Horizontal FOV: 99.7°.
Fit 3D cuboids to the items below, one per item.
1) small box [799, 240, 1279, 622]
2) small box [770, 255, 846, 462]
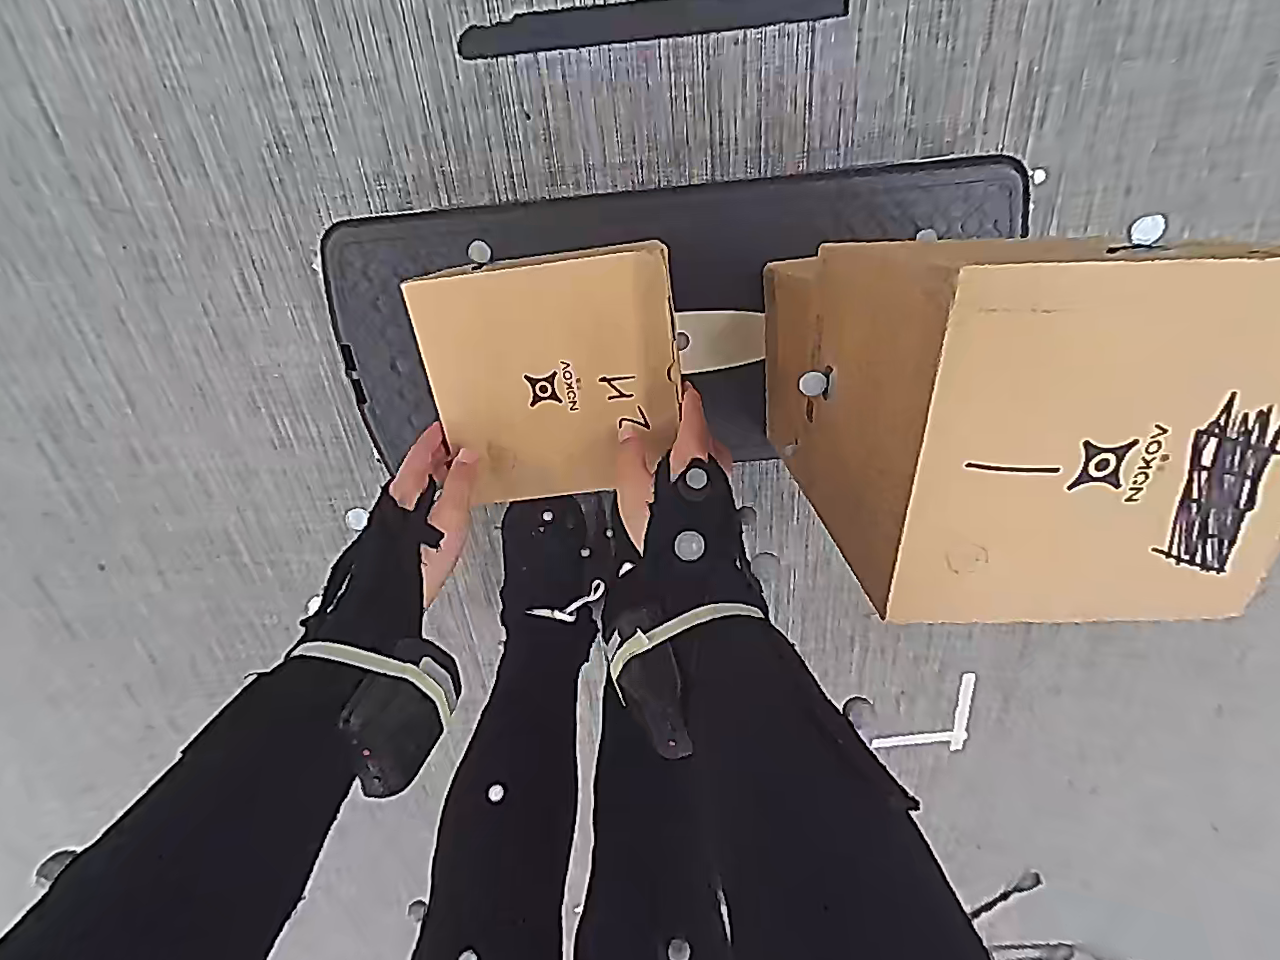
[{"bbox_3d":[0.206,-0.041,0.301,0.179,0.176,0.168,-1,115,0],"label":"small box"},{"bbox_3d":[0.209,-0.098,0.457,0.168,0.176,0.179,-6,115,2],"label":"small box"}]
